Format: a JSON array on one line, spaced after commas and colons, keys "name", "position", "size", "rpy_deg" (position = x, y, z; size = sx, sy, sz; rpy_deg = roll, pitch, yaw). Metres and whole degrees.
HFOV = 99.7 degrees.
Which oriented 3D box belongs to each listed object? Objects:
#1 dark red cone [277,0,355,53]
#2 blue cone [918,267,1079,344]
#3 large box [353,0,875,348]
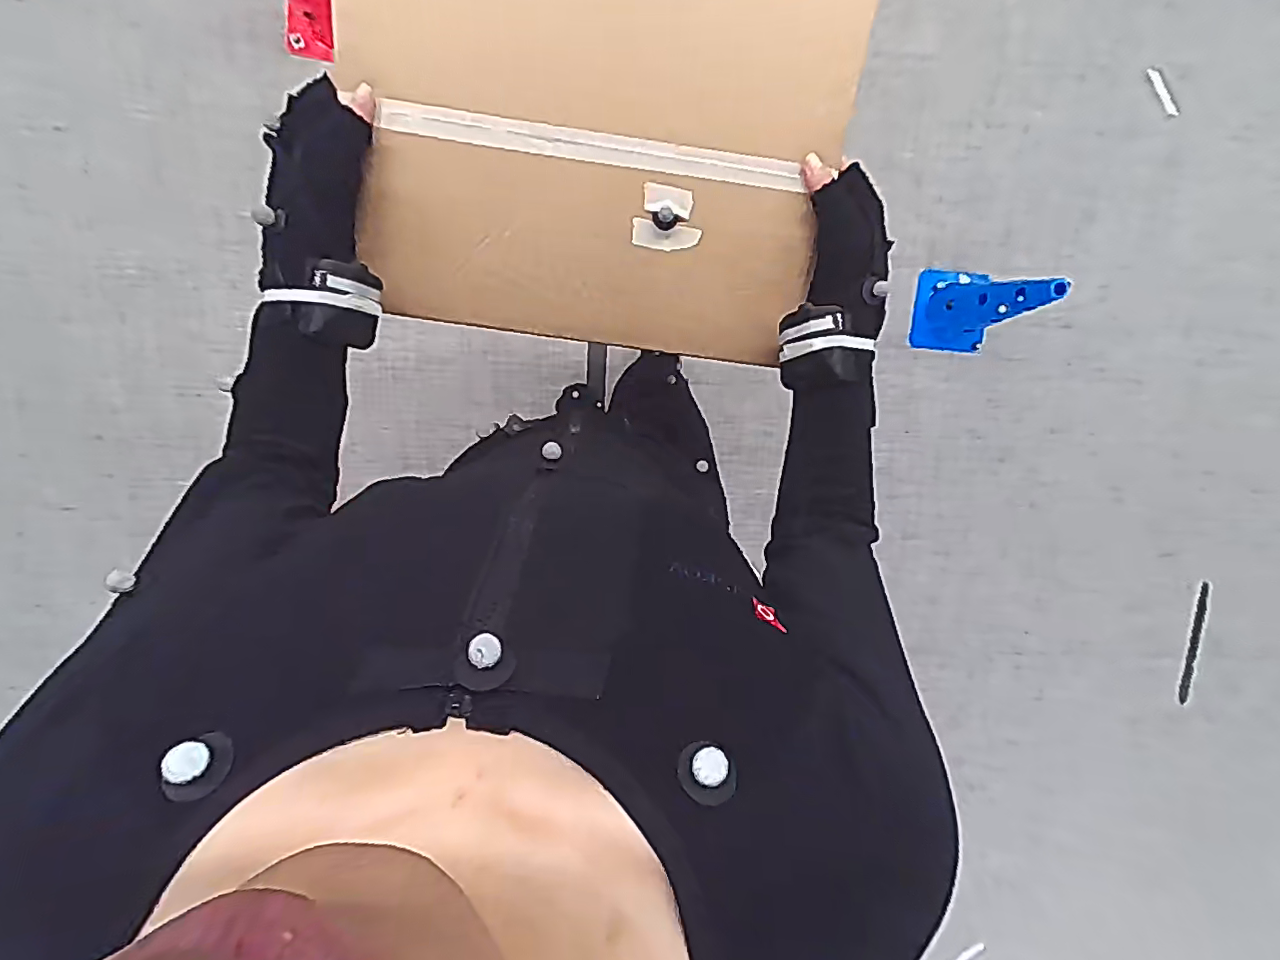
[{"name": "dark red cone", "position": [-0.692, -1.048, 1.046], "size": [0.201, 0.394, 0.202], "rpy_deg": [8, 100, -5]}, {"name": "blue cone", "position": [0.845, -0.431, 1.268], "size": [0.192, 0.380, 0.193], "rpy_deg": [5, 100, -5]}, {"name": "large box", "position": [-0.035, -0.342, 0.584], "size": [0.408, 0.320, 0.320], "rpy_deg": [7, 113, -4]}]
